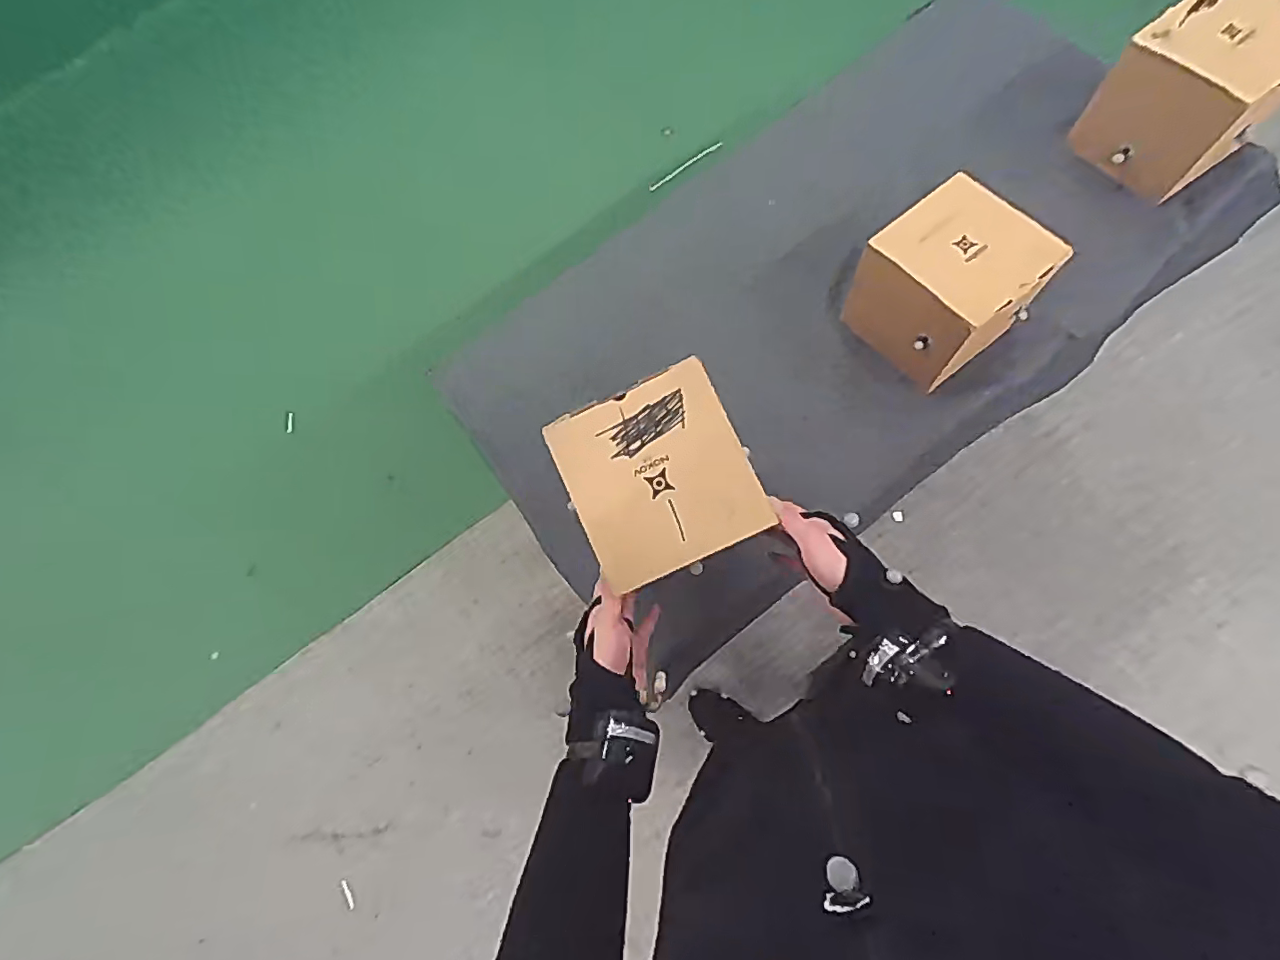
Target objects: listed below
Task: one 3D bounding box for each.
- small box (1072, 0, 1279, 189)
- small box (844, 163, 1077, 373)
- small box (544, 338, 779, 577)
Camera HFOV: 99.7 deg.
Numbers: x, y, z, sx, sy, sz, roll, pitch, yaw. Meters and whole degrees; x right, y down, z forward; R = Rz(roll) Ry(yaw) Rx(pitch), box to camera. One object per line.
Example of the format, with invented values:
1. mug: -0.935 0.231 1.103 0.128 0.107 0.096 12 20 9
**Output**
1. small box: 0.786 -0.554 0.767 0.168 0.176 0.179 -35 71 -2
2. small box: 0.410 -0.269 0.729 0.168 0.176 0.179 -37 70 -7
3. small box: 0.023 -0.013 0.566 0.168 0.176 0.179 -24 83 3
